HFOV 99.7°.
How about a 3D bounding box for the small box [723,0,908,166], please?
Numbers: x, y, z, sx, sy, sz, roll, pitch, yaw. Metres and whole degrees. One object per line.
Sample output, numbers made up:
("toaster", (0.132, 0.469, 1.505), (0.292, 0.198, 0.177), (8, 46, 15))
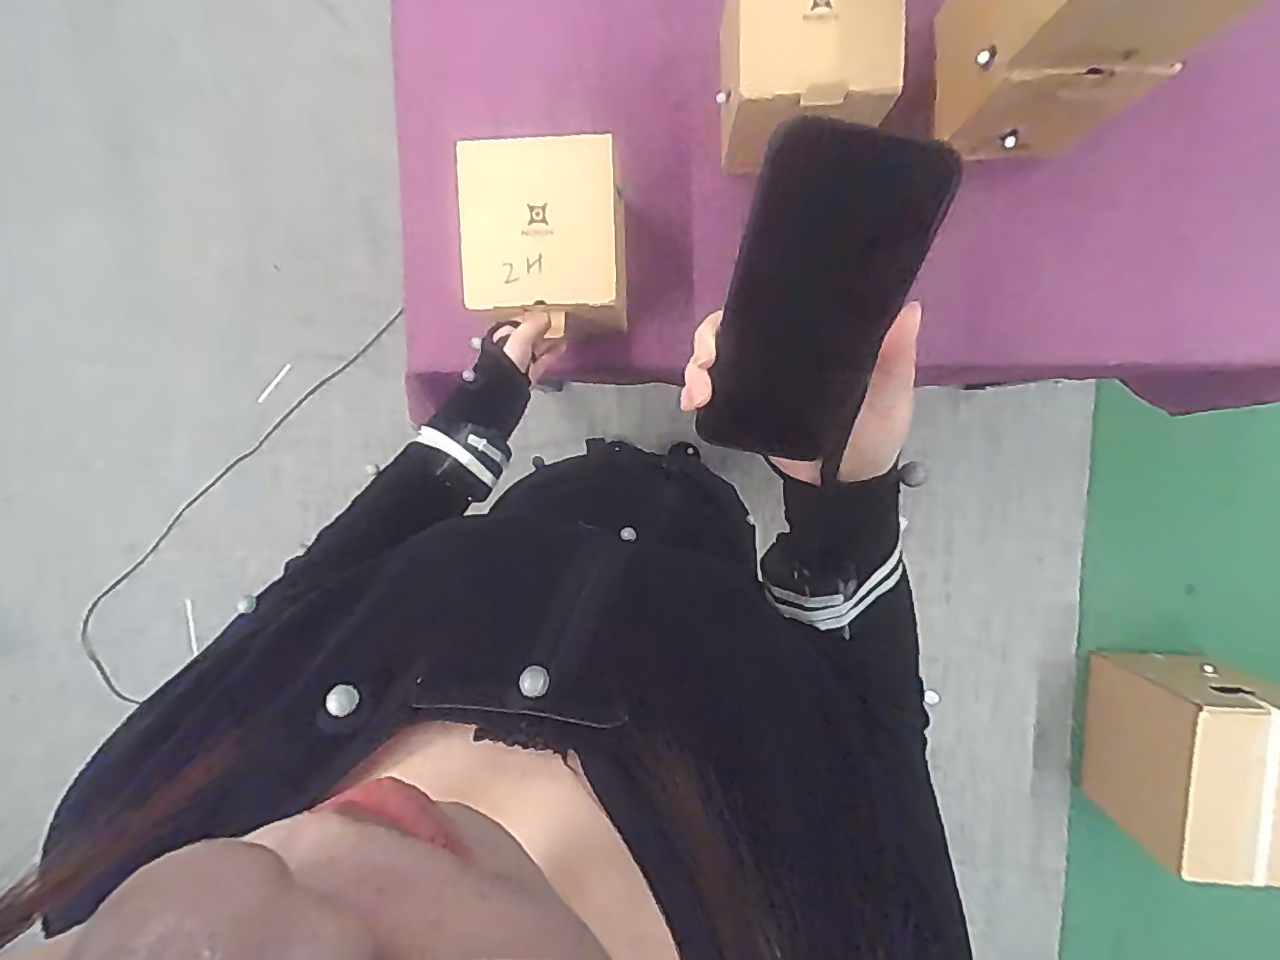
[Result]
("small box", (0.187, -0.480, 0.616), (0.168, 0.176, 0.179), (-1, 95, 3))

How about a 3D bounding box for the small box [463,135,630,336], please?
("small box", (-0.101, -0.278, 0.649), (0.168, 0.176, 0.179), (-1, 95, 3))

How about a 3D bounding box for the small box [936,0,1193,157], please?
("small box", (0.452, -0.492, 0.600), (0.168, 0.176, 0.179), (-1, 96, 3))
